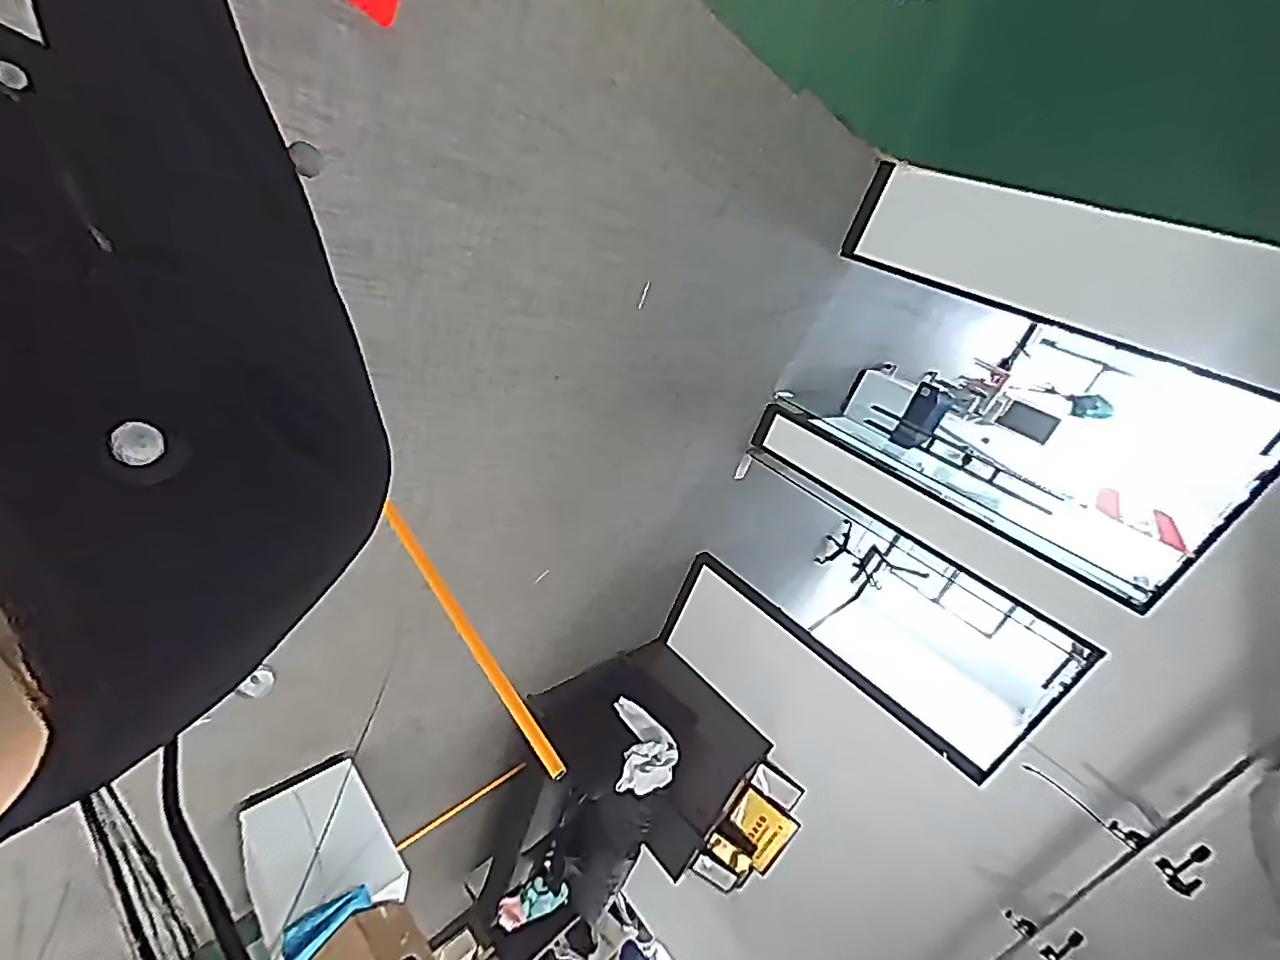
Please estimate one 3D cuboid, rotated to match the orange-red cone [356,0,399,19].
[{"bbox_3d":[-0.439,-0.979,0.972,0.198,0.360,0.199,7,116,-54],"label":"orange-red cone"}]
